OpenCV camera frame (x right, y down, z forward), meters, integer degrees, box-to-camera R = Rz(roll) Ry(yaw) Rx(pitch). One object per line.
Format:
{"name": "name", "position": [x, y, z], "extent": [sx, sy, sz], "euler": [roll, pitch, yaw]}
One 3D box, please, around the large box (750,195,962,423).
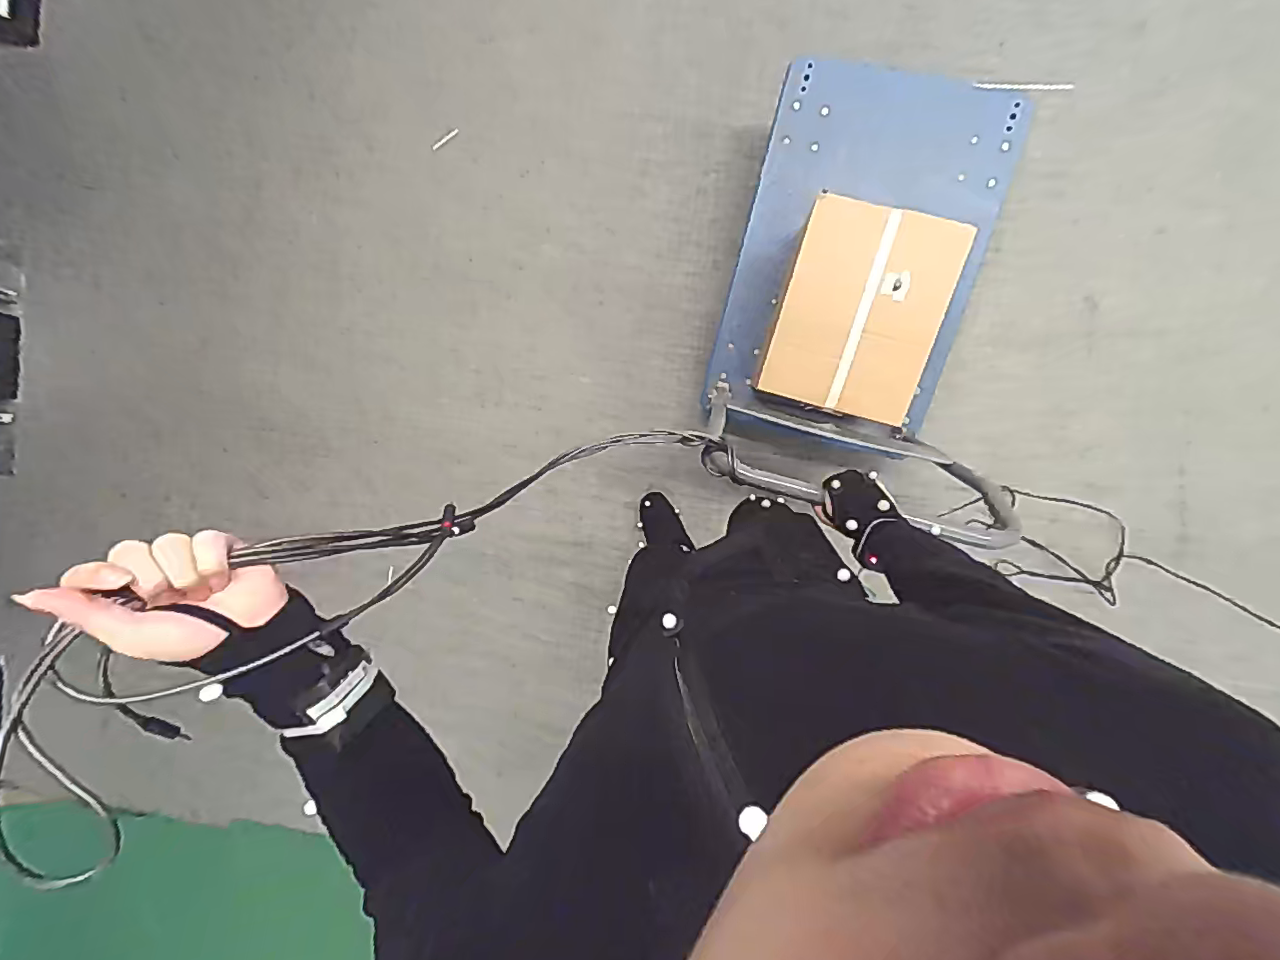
{"name": "large box", "position": [0.461, -0.371, 1.256], "extent": [0.320, 0.320, 0.408], "euler": [17, 102, 5]}
